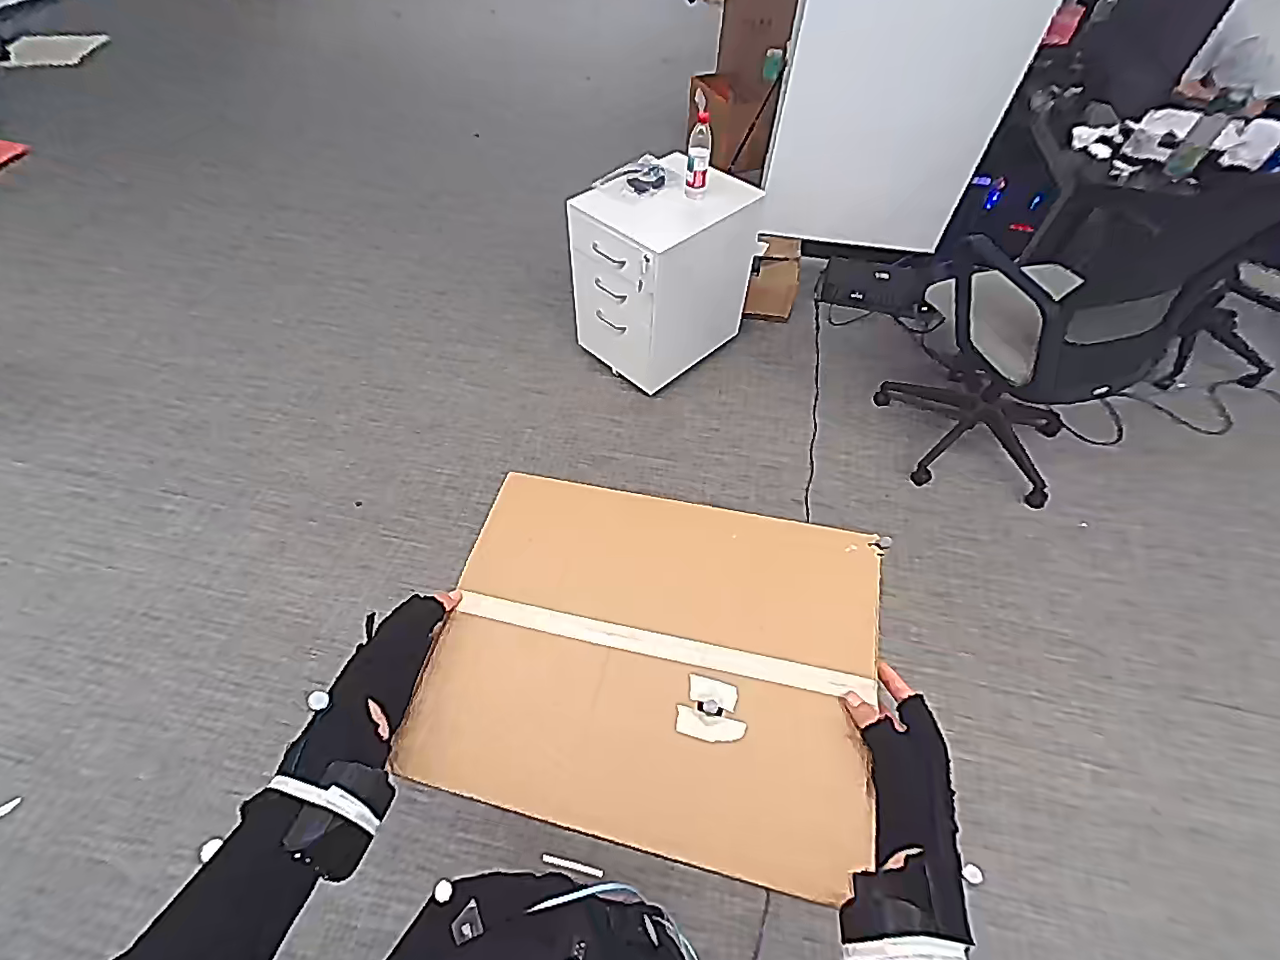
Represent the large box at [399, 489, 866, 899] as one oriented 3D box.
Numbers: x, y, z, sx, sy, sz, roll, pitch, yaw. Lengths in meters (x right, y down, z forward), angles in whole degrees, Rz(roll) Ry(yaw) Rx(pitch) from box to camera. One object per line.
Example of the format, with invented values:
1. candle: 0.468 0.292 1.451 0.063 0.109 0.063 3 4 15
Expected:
1. large box: 0.018 0.244 0.647 0.408 0.320 0.320 10 60 11
